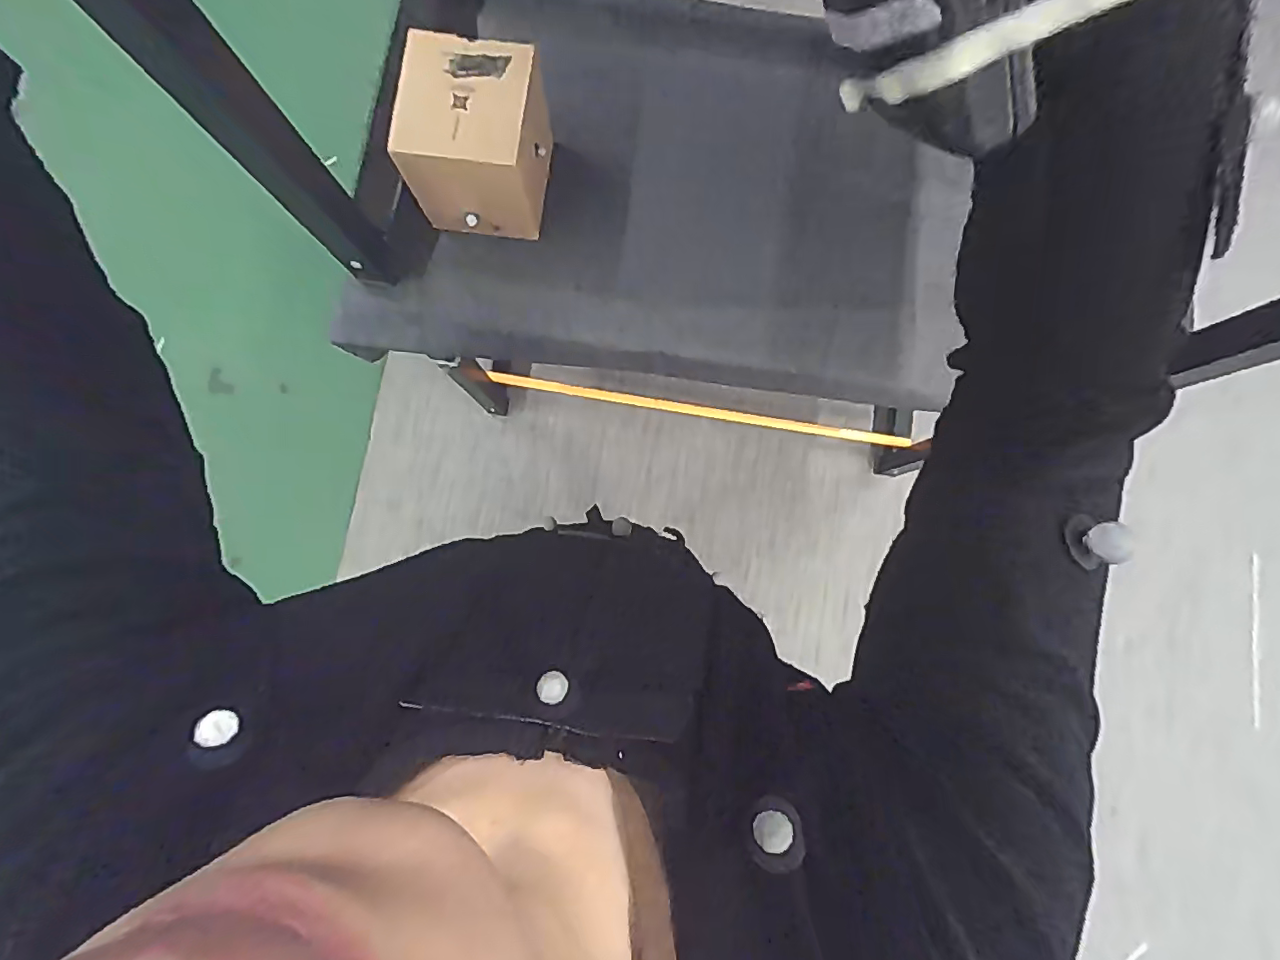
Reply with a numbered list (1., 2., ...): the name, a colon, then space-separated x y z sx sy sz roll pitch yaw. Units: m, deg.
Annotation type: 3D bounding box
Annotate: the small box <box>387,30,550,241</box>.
1. small box: -0.226 -0.473 0.762 0.168 0.176 0.179 7 82 0
